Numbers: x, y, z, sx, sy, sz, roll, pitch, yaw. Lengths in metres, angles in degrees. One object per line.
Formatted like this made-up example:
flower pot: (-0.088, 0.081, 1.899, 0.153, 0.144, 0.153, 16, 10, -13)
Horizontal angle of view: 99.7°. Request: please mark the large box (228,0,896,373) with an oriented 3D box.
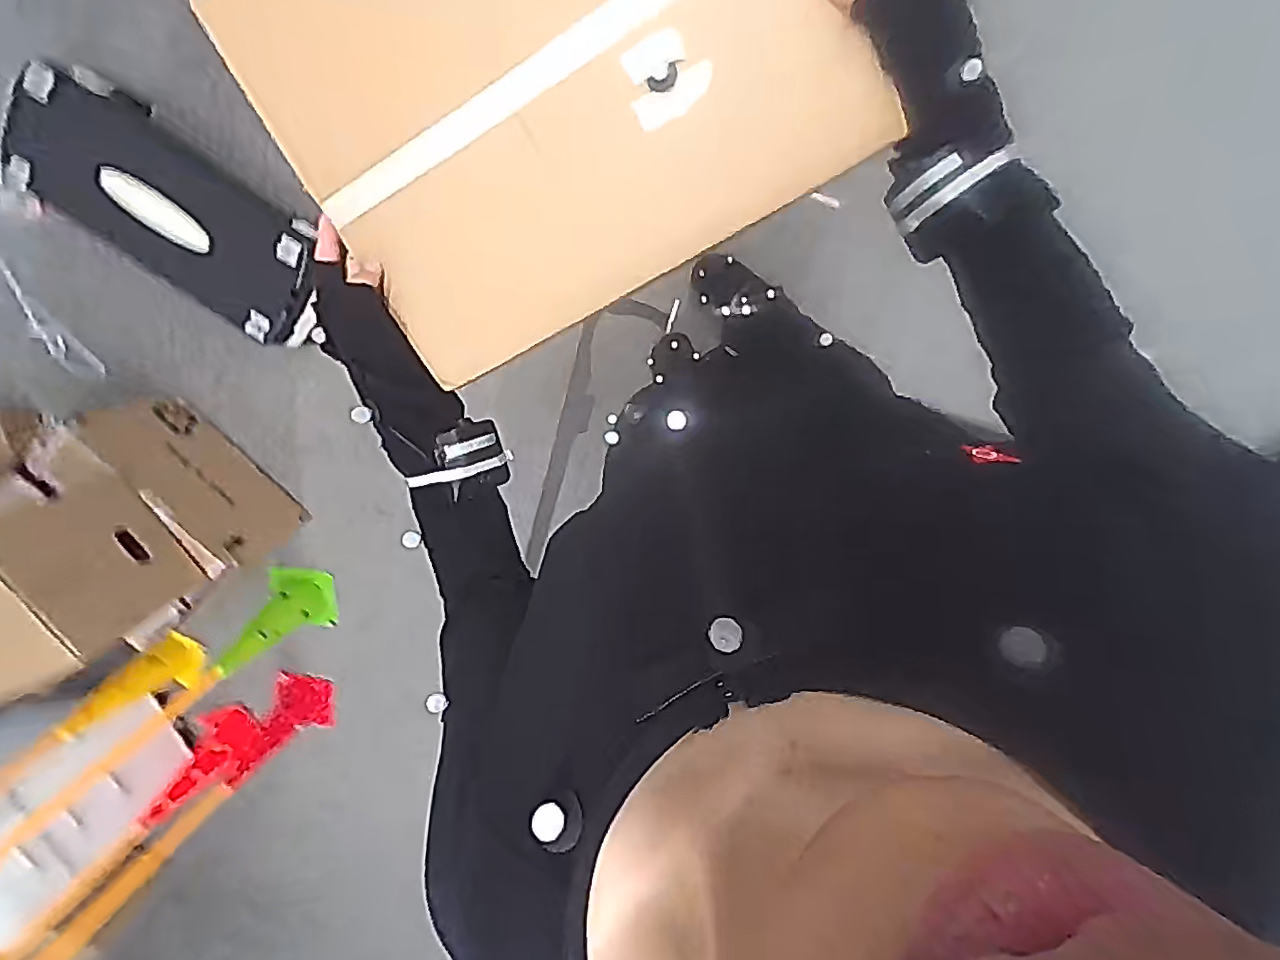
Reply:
large box: (-0.049, -0.350, 0.528, 0.408, 0.320, 0.320, -25, 107, 12)
